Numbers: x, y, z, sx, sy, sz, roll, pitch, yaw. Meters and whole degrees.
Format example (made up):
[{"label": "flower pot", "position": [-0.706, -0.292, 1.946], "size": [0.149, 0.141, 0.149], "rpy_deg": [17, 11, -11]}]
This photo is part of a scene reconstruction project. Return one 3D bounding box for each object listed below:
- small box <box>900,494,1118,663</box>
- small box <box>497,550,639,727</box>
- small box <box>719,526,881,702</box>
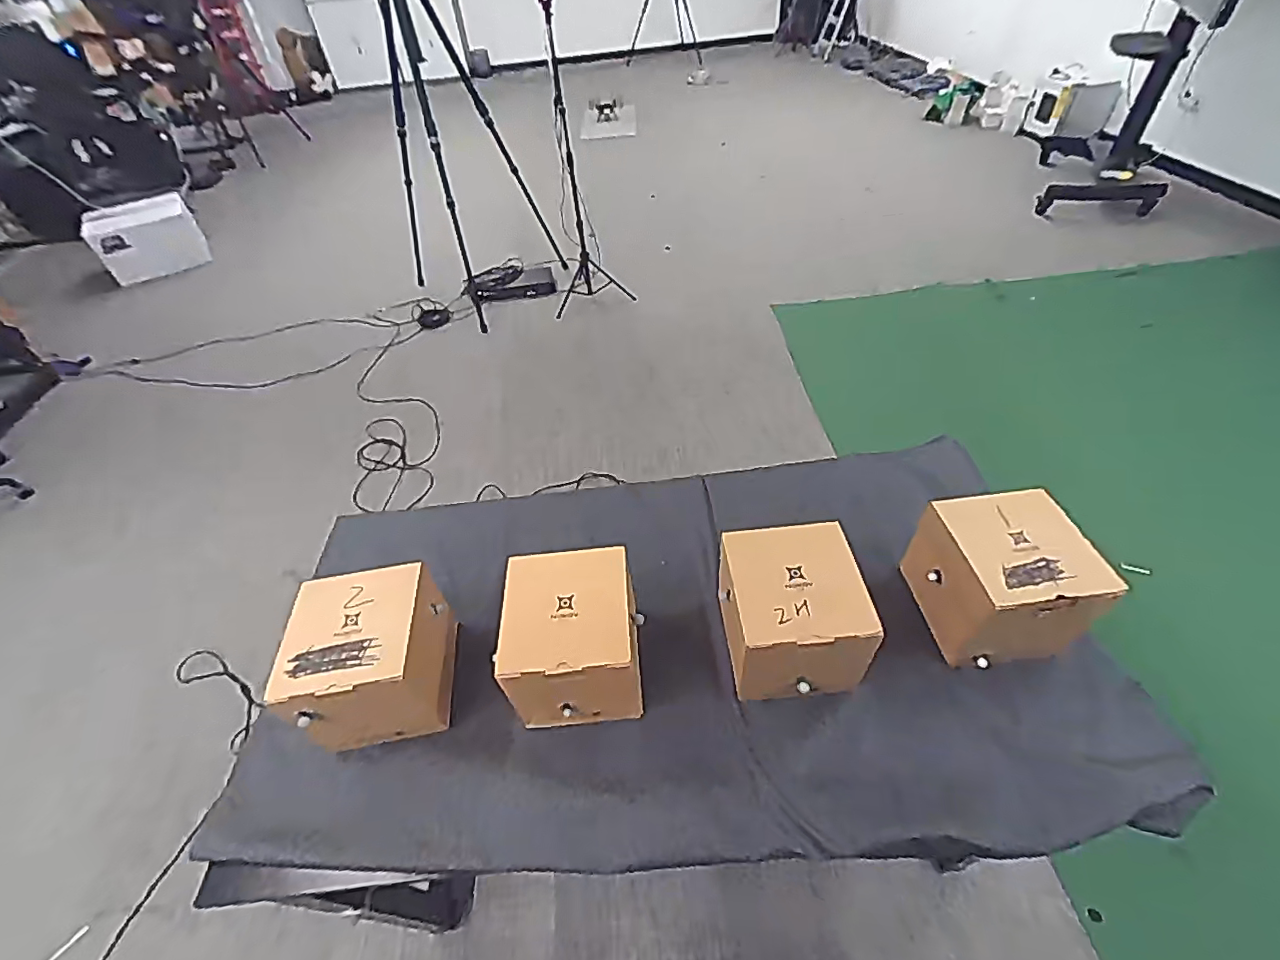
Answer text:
[{"label": "small box", "position": [0.502, 0.146, 0.771], "size": [0.168, 0.176, 0.179], "rpy_deg": [-6, 46, -1]}, {"label": "small box", "position": [-0.091, 0.221, 0.754], "size": [0.168, 0.176, 0.179], "rpy_deg": [-5, 47, -1]}, {"label": "small box", "position": [0.206, 0.188, 0.758], "size": [0.168, 0.176, 0.179], "rpy_deg": [-5, 47, 0]}]
